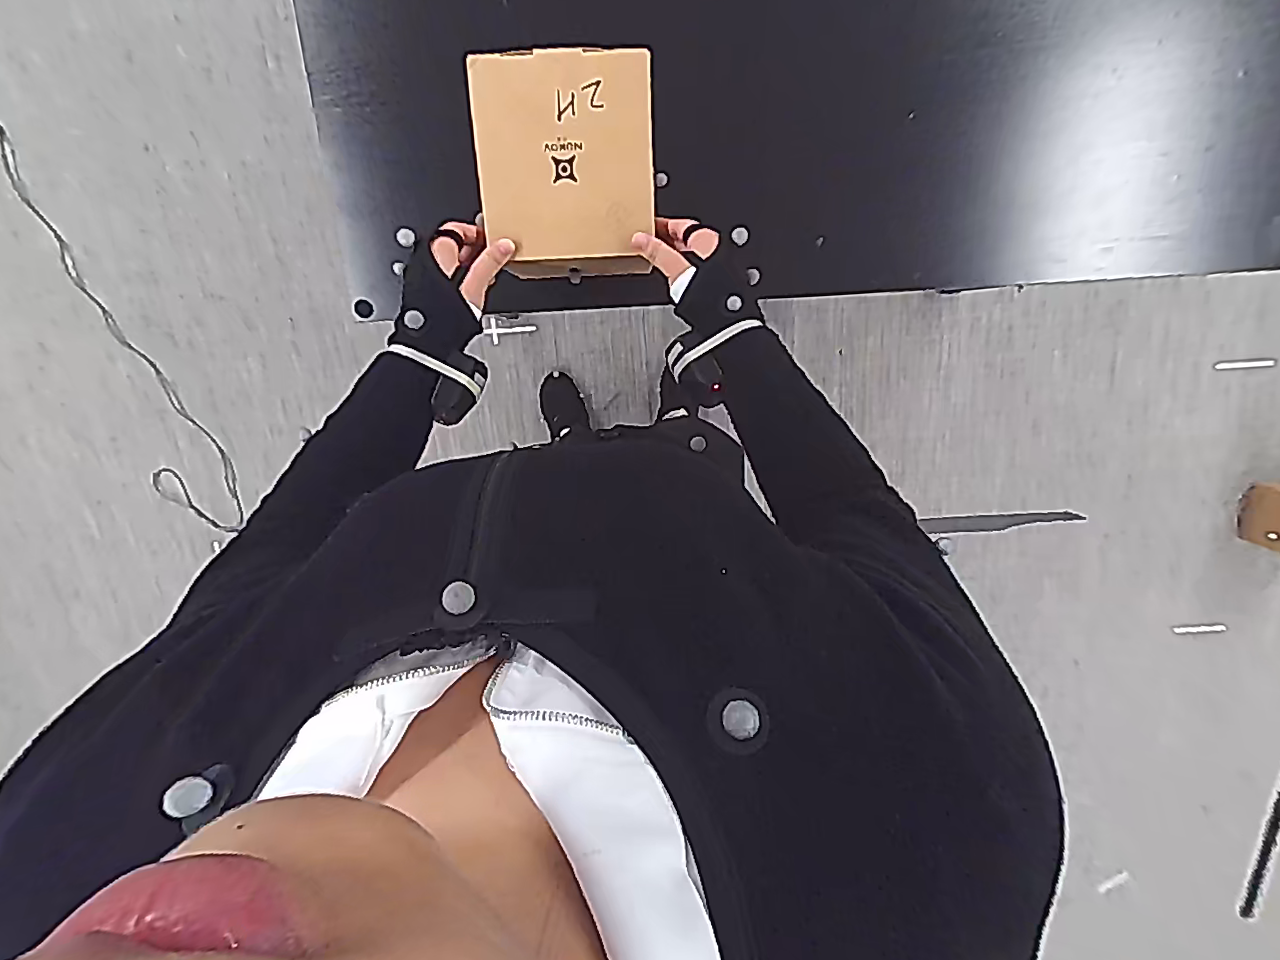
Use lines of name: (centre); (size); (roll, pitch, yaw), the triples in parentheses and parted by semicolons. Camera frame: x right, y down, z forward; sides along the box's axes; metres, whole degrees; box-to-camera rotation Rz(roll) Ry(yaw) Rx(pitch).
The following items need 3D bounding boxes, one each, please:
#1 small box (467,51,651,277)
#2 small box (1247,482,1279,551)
small box: (-0.072, -0.318, 0.584); (0.168, 0.176, 0.179); (-3, 104, 0)
small box: (1.819, 0.108, 1.459); (0.168, 0.176, 0.179); (-4, 104, 0)
